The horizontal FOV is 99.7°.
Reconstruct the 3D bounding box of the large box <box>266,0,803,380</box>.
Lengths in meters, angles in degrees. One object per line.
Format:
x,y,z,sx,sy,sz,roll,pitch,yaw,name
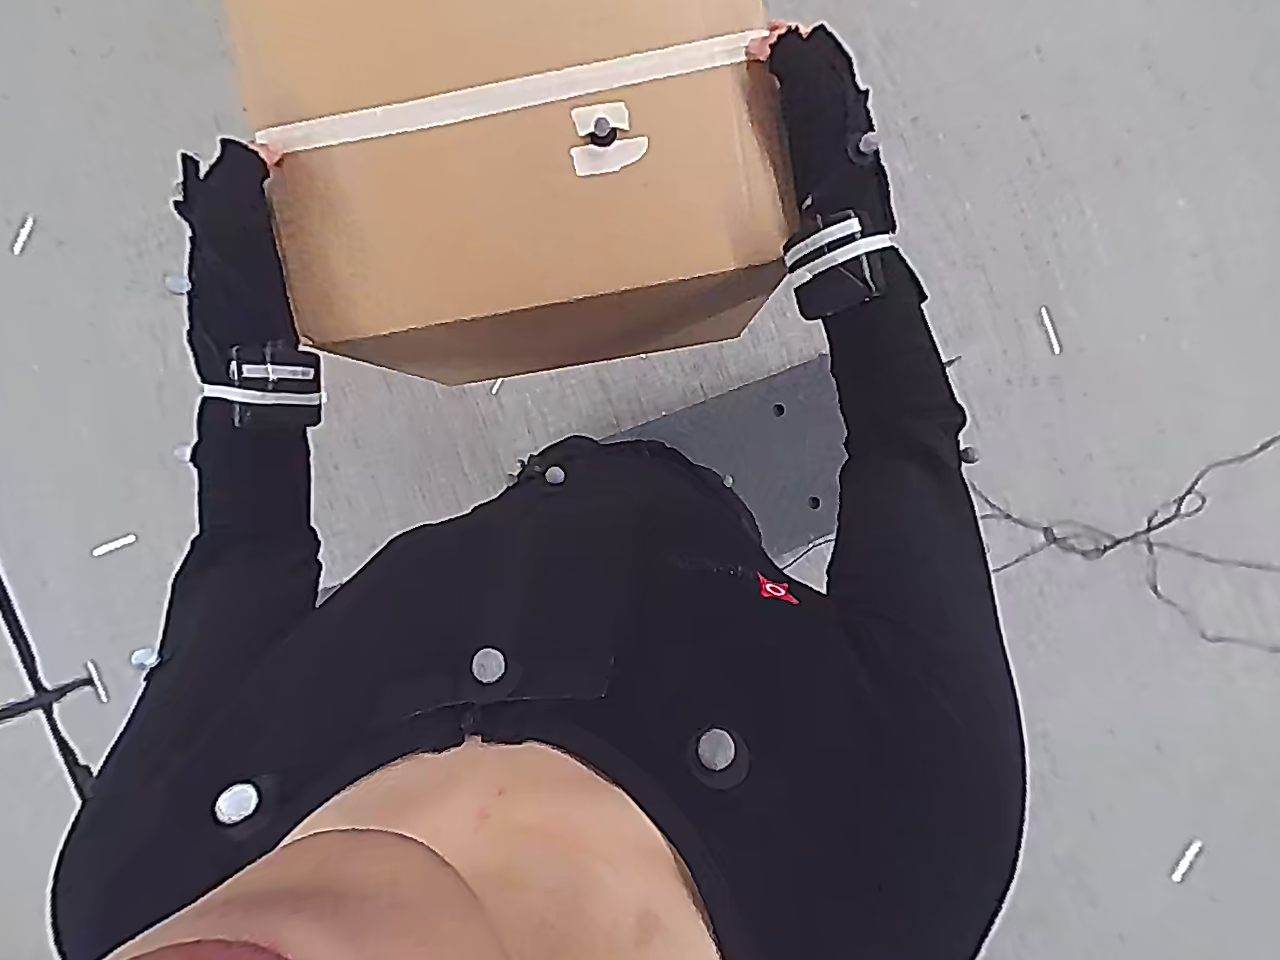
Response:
-0.085,-0.310,0.582,0.408,0.320,0.320,-9,94,2,large box

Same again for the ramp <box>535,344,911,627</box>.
0.255,-0.002,1.538,0.991,0.206,0.509,-23,89,3,ramp
